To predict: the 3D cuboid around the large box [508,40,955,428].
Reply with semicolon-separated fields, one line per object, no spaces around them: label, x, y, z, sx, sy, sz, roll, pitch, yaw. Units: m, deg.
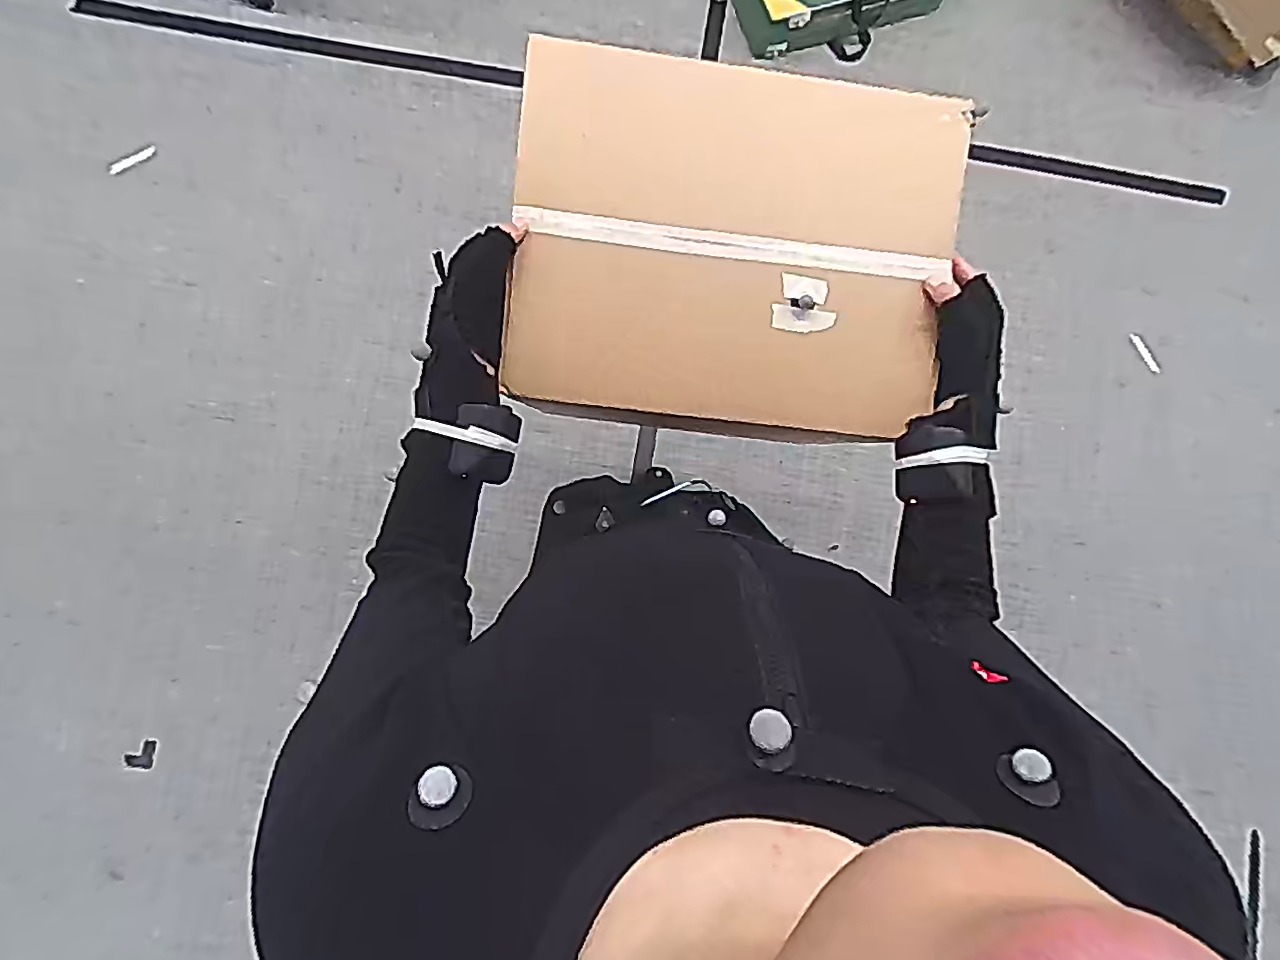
large box;0.076;-0.236;0.652;0.408;0.320;0.320;6;95;-4
